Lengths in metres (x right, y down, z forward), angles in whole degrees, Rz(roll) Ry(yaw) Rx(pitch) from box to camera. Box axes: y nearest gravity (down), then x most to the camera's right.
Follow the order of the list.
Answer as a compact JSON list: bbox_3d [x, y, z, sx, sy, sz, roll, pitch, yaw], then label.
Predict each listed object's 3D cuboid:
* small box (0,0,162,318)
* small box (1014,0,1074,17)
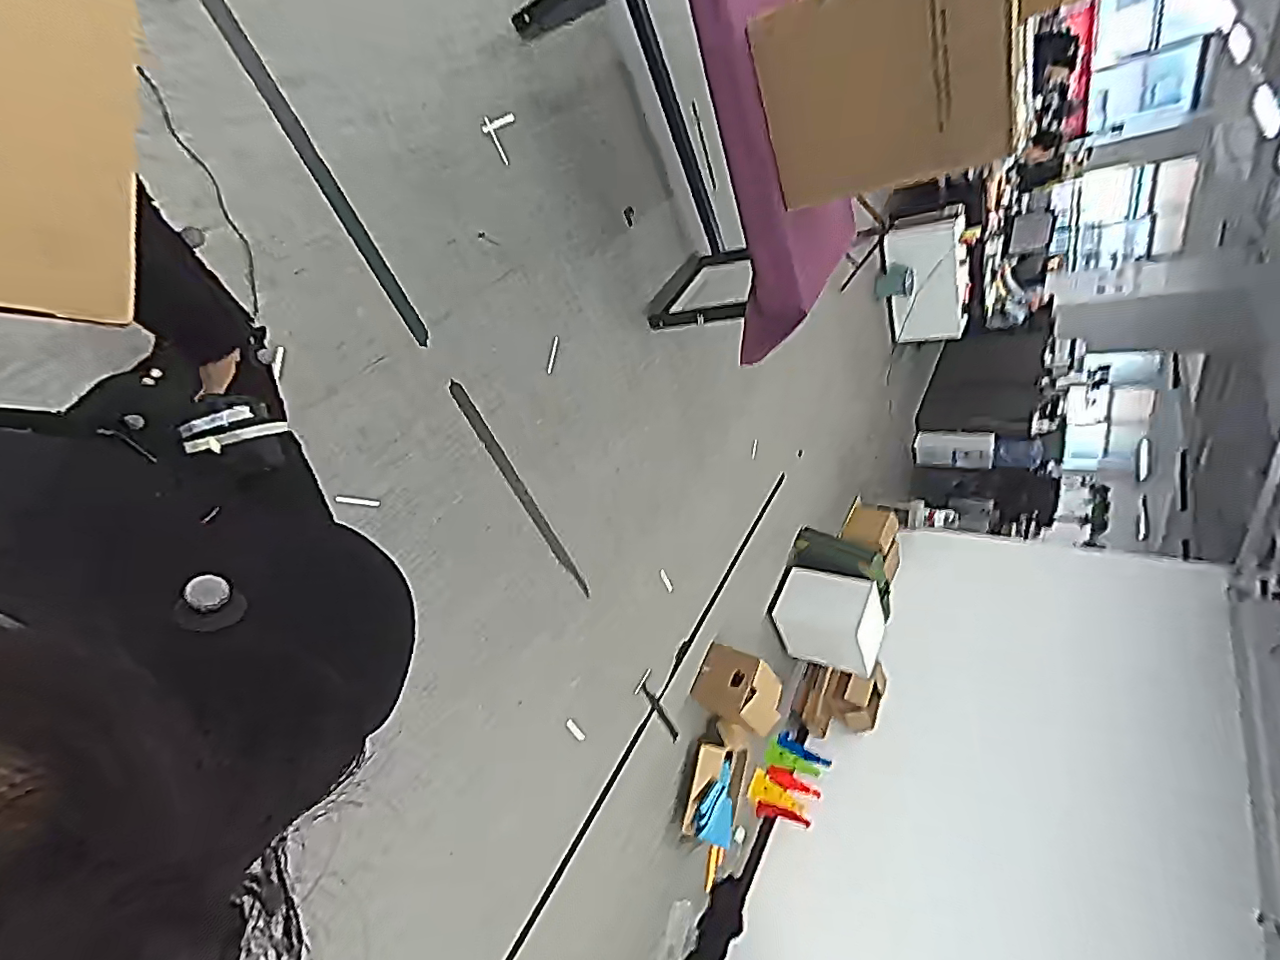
[{"bbox_3d":[-0.369,-0.197,0.263,0.168,0.176,0.179,-6,115,-56],"label":"small box"},{"bbox_3d":[0.966,-1.204,1.238,0.168,0.176,0.179,-54,133,-33],"label":"small box"}]
